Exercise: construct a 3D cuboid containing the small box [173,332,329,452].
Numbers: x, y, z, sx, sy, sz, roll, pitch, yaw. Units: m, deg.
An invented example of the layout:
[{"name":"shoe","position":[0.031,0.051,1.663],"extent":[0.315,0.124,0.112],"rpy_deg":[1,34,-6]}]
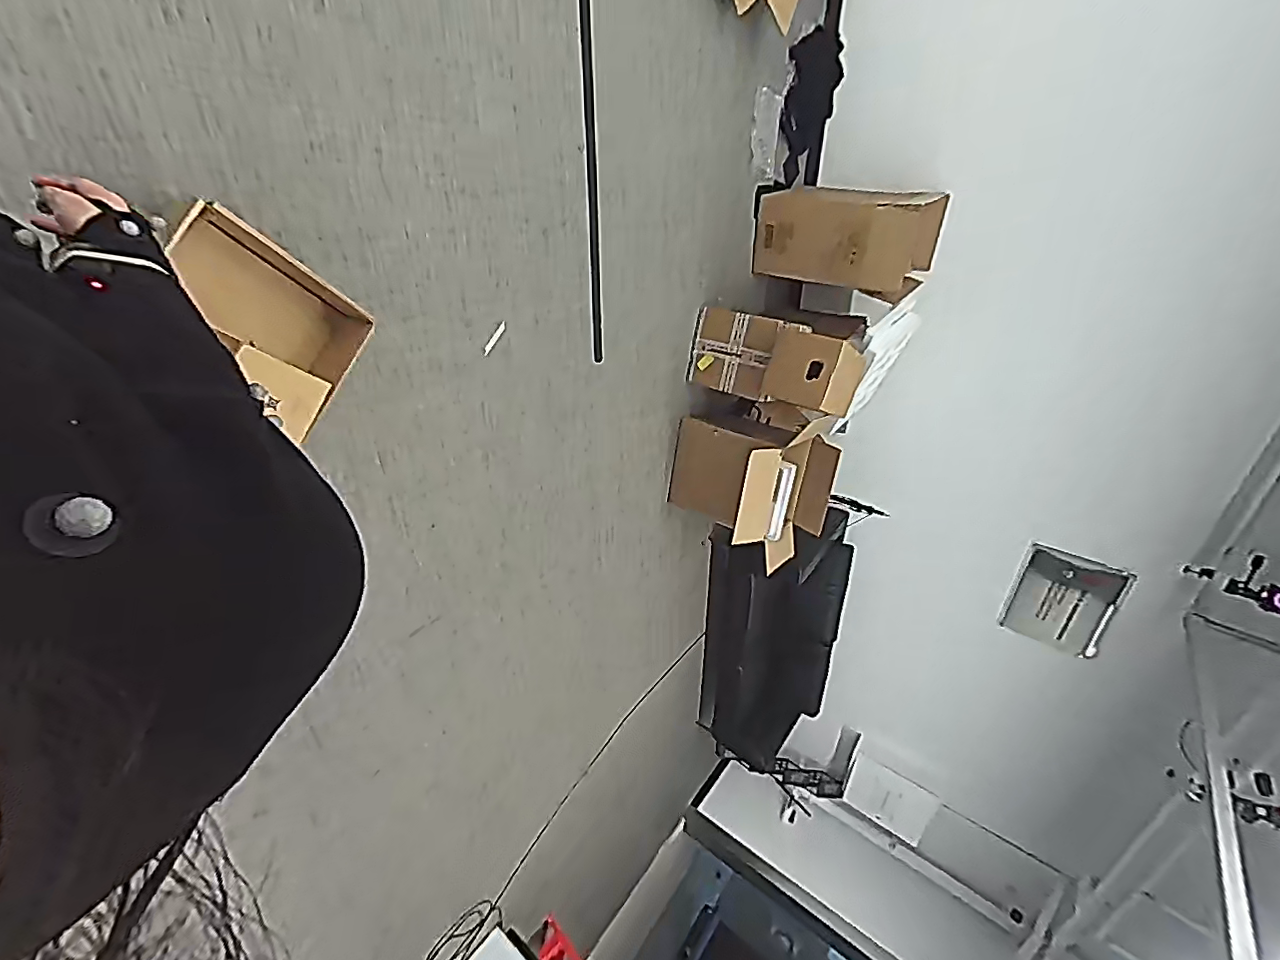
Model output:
[{"name":"small box","position":[-0.778,-0.179,1.080],"extent":[0.179,0.176,0.168],"rpy_deg":[32,83,-59]}]
